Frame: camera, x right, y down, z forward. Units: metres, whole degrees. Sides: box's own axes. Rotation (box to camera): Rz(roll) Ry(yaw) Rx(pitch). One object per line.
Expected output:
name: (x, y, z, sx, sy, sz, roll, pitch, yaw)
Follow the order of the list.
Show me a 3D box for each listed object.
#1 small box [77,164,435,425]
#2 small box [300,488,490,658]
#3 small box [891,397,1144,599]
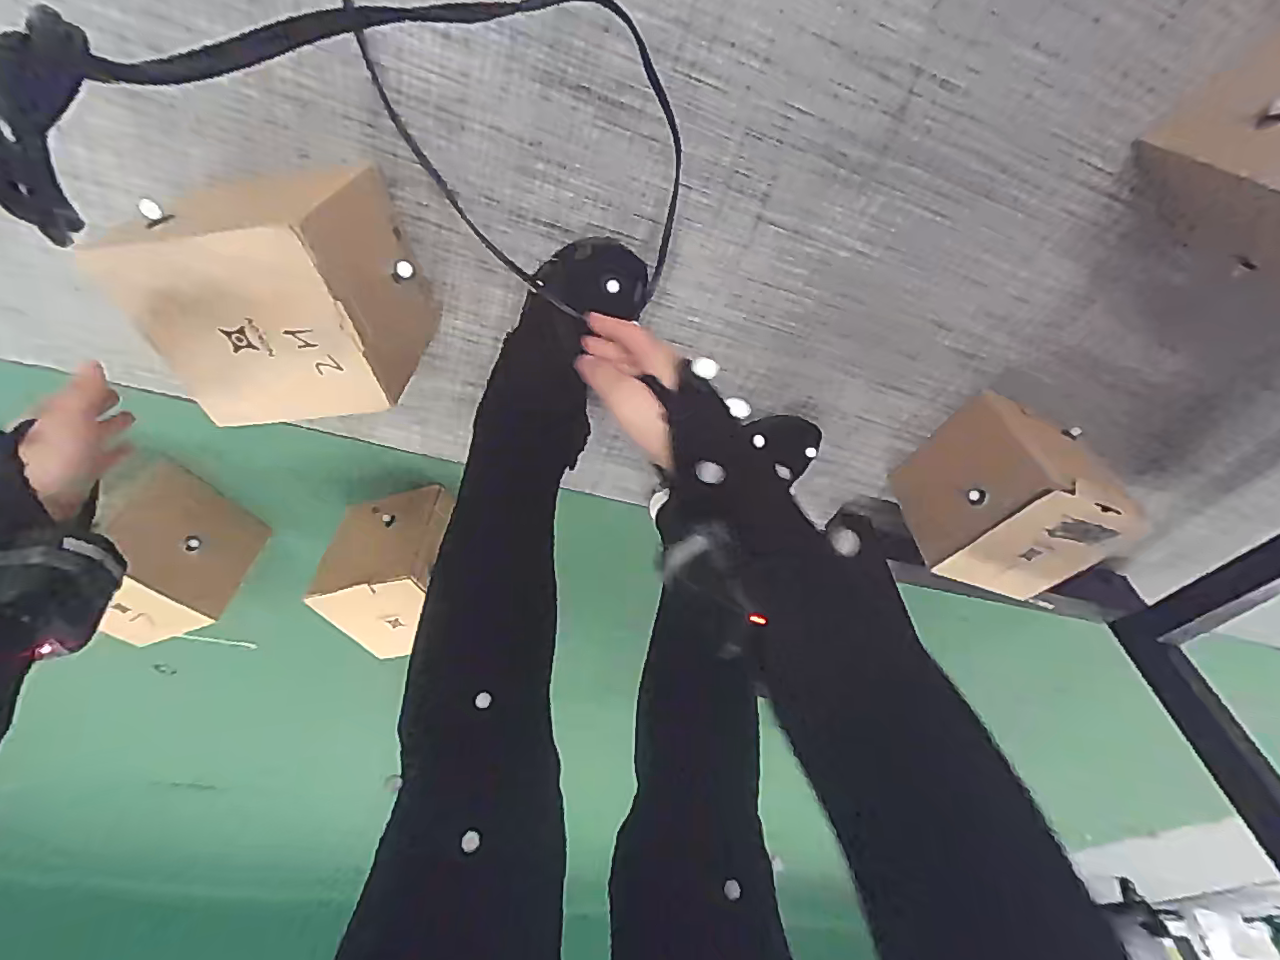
small box: (-0.319, -0.172, 0.499, 0.179, 0.176, 0.168, -5, 134, 4)
small box: (-0.344, 0.139, 0.804, 0.168, 0.176, 0.179, -12, 133, 11)
small box: (0.462, 0.023, 0.697, 0.168, 0.176, 0.179, 18, 132, -17)
